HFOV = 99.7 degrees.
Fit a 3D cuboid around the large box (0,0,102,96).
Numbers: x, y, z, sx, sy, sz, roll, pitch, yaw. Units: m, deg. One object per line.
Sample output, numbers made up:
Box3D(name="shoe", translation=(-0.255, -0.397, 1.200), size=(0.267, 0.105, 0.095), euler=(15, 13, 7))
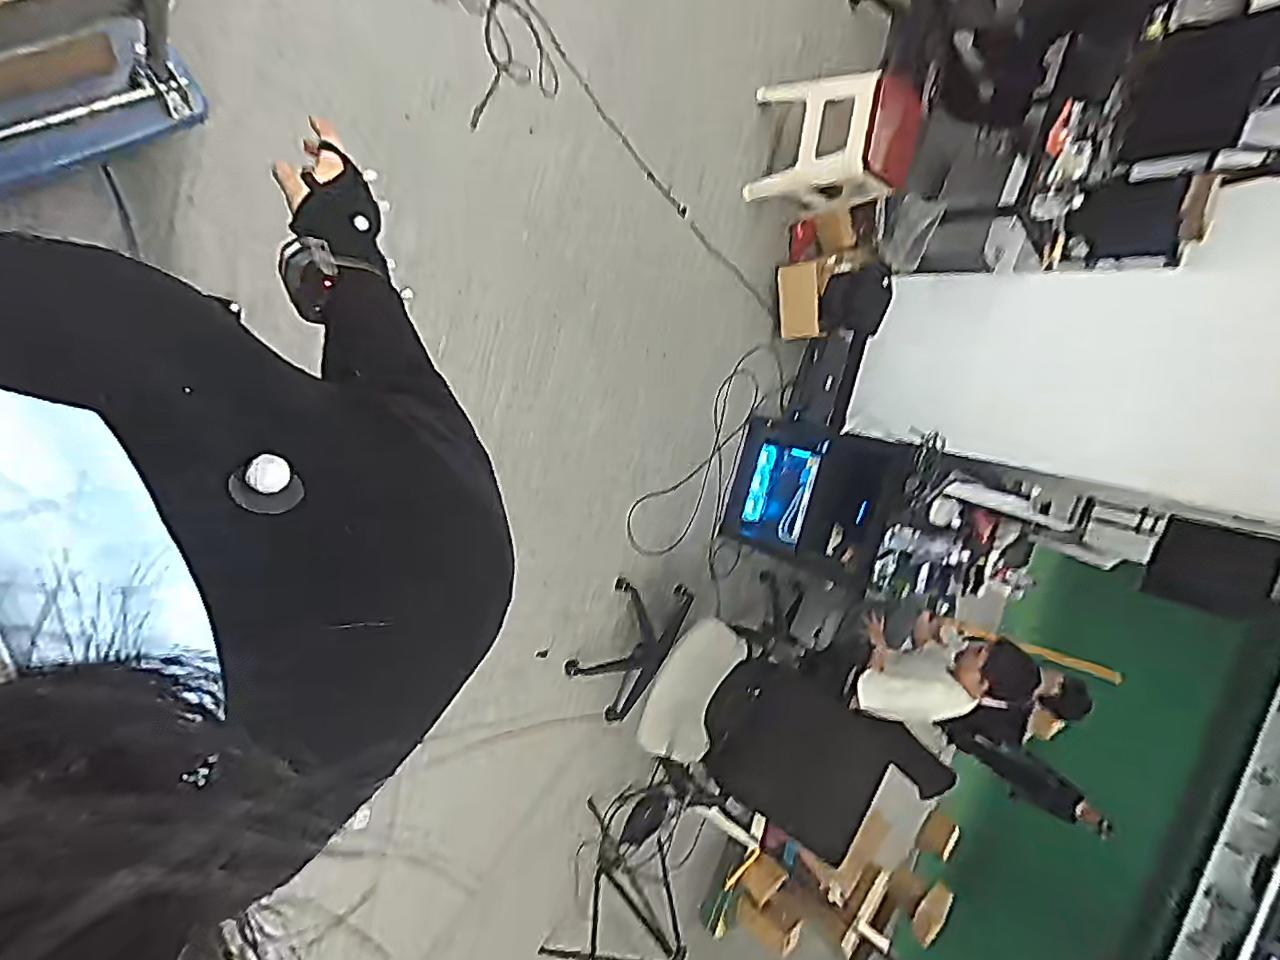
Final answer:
Box3D(name="large box", translation=(-0.939, -0.618, 0.590), size=(0.408, 0.320, 0.320), euler=(-42, 129, -26))
